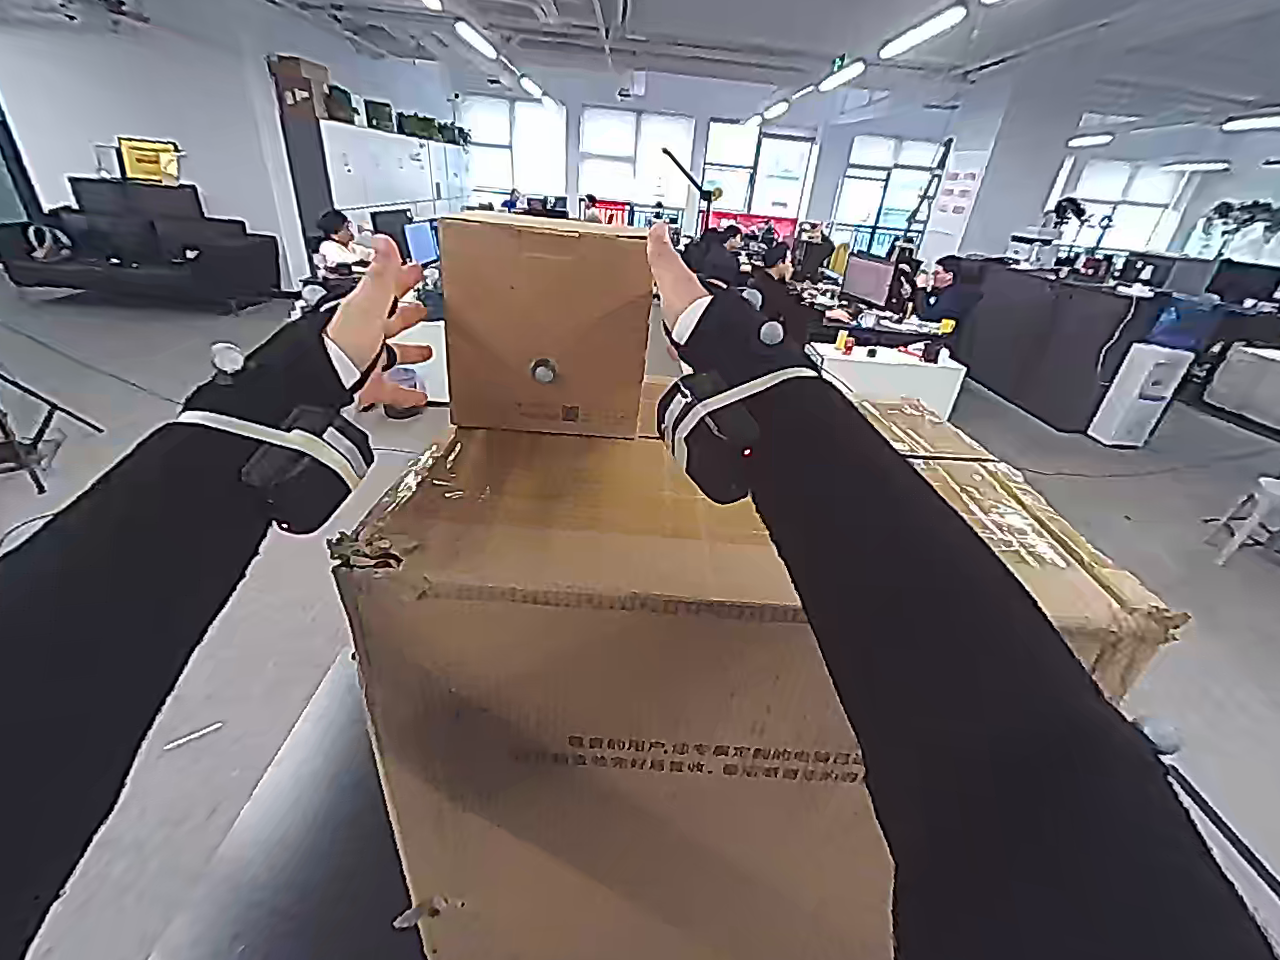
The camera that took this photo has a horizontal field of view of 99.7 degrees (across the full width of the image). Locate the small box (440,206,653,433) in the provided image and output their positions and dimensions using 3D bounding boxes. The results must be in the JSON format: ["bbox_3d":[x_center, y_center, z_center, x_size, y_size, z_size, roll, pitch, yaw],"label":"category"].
[{"bbox_3d":[-0.081,-0.157,0.518,0.168,0.176,0.179,3,27,-4],"label":"small box"}]
